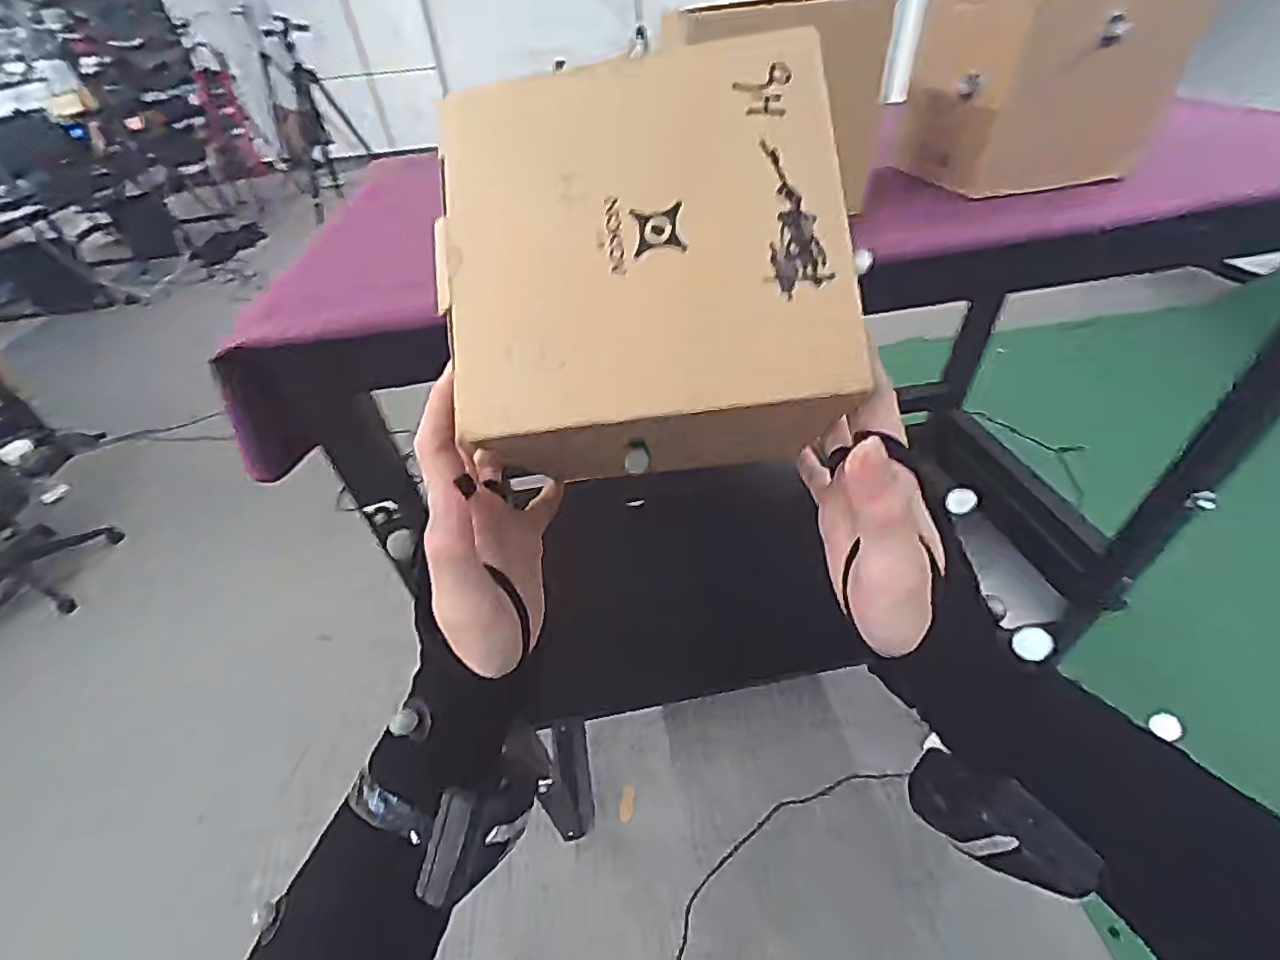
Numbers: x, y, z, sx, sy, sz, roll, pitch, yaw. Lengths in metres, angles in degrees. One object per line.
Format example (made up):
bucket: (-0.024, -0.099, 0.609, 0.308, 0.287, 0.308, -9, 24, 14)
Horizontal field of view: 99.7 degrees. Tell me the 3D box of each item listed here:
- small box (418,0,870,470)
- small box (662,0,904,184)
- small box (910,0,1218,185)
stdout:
small box: (0.005, -0.099, 0.293, 0.179, 0.176, 0.168, -5, 85, 7)
small box: (0.114, -0.368, 0.509, 0.179, 0.176, 0.168, -6, 43, 0)
small box: (0.388, -0.398, 0.520, 0.179, 0.176, 0.168, -8, 43, -3)
